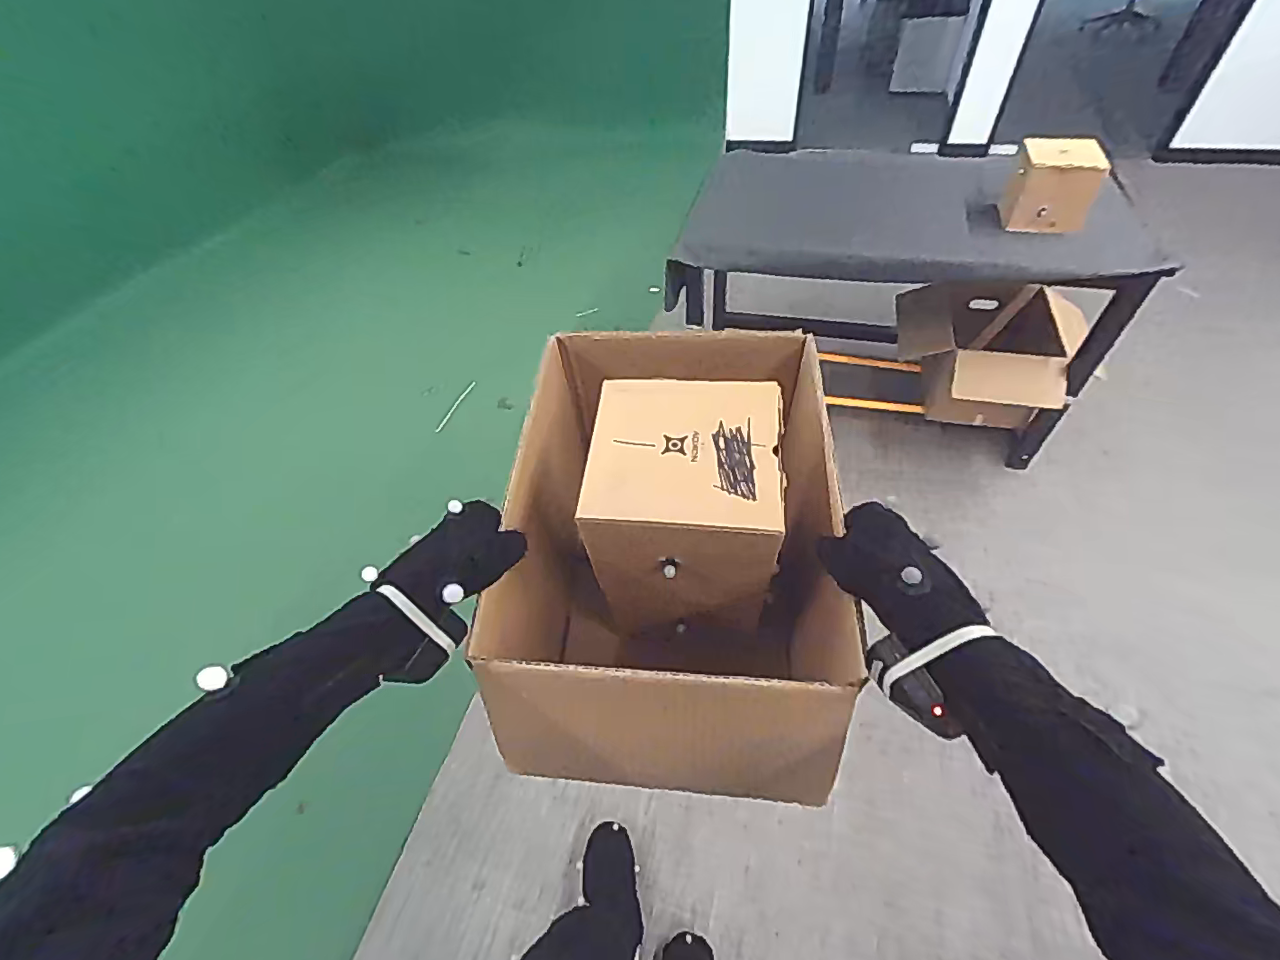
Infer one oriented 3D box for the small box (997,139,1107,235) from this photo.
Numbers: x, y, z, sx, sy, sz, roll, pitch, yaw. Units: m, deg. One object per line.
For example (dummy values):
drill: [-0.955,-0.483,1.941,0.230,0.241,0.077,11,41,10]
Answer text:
small box: [1.066,-0.768,1.418,0.168,0.176,0.179,10,52,14]
